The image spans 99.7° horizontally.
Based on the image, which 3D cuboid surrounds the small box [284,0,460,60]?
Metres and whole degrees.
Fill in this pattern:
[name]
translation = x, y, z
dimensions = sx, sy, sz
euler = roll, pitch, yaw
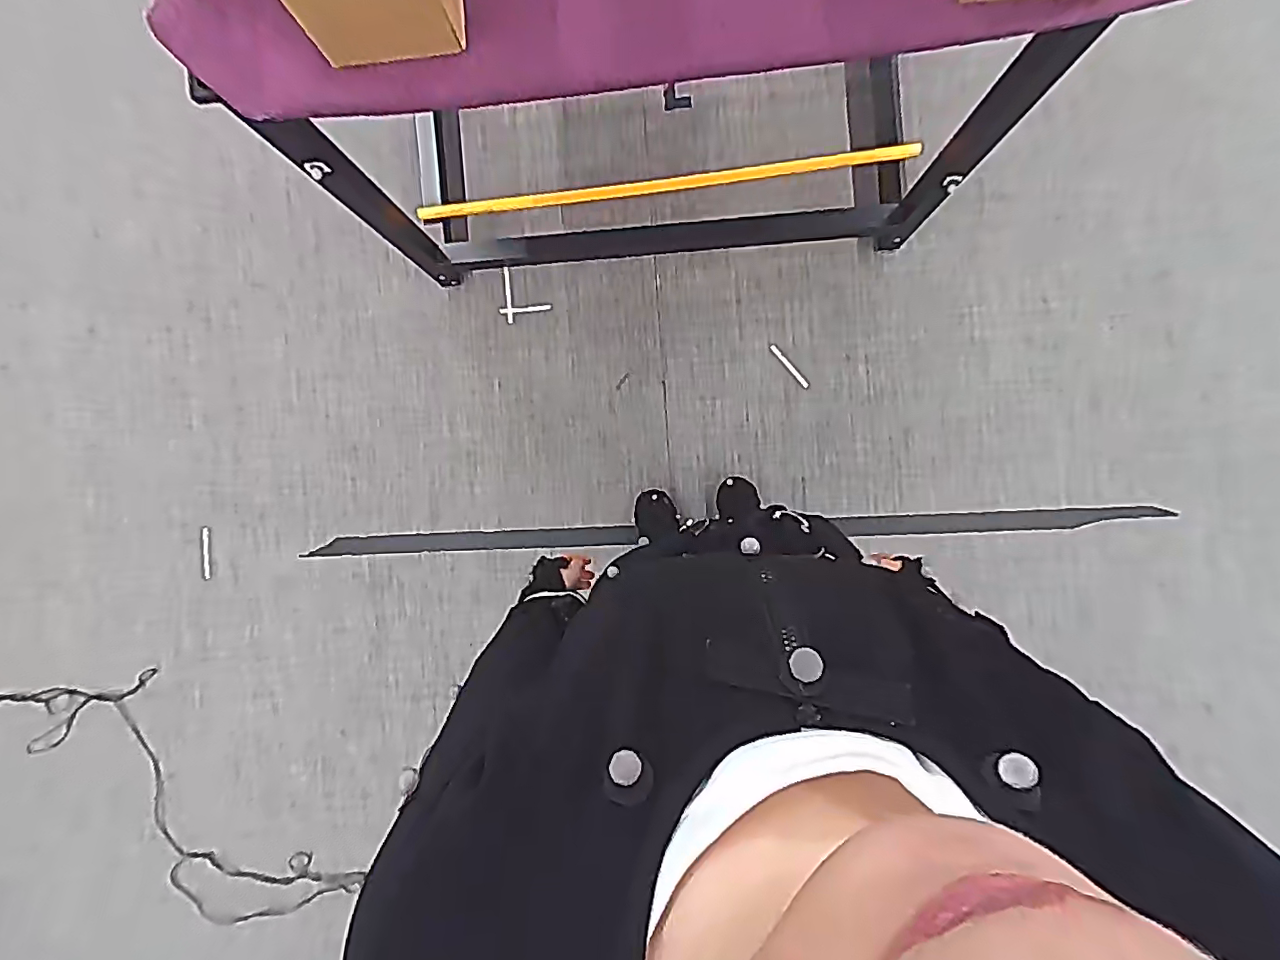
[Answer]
[small box]
translation = -0.324, -0.618, 0.609
dimensions = 0.179, 0.176, 0.168
euler = -5, 89, 3
